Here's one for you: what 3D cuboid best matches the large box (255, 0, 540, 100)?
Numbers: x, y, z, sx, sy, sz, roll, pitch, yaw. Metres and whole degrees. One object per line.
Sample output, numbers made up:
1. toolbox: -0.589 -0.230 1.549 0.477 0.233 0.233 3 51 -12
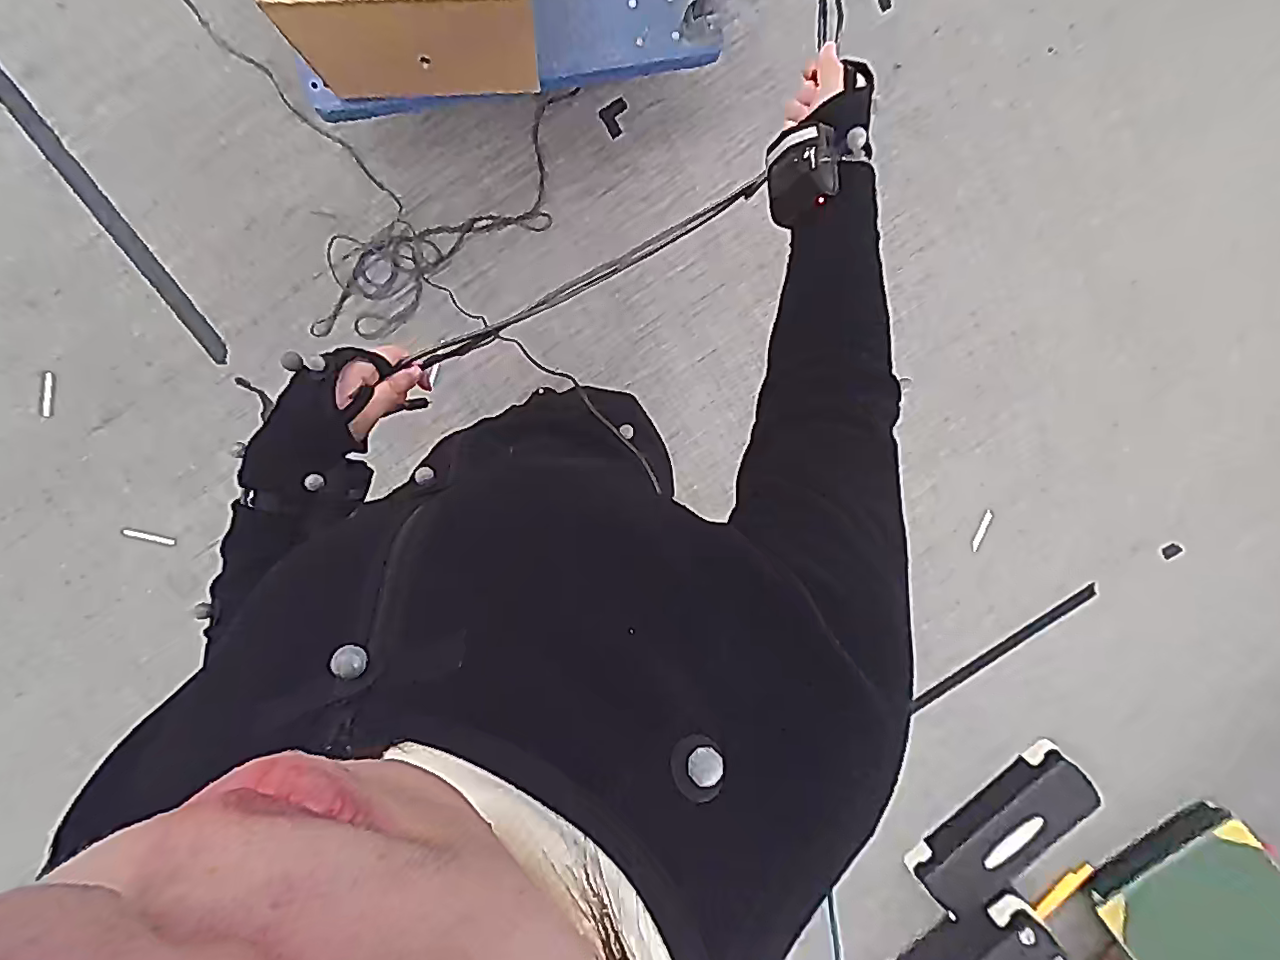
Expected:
1. large box: -0.401 -0.899 0.923 0.408 0.320 0.320 -7 102 -5
